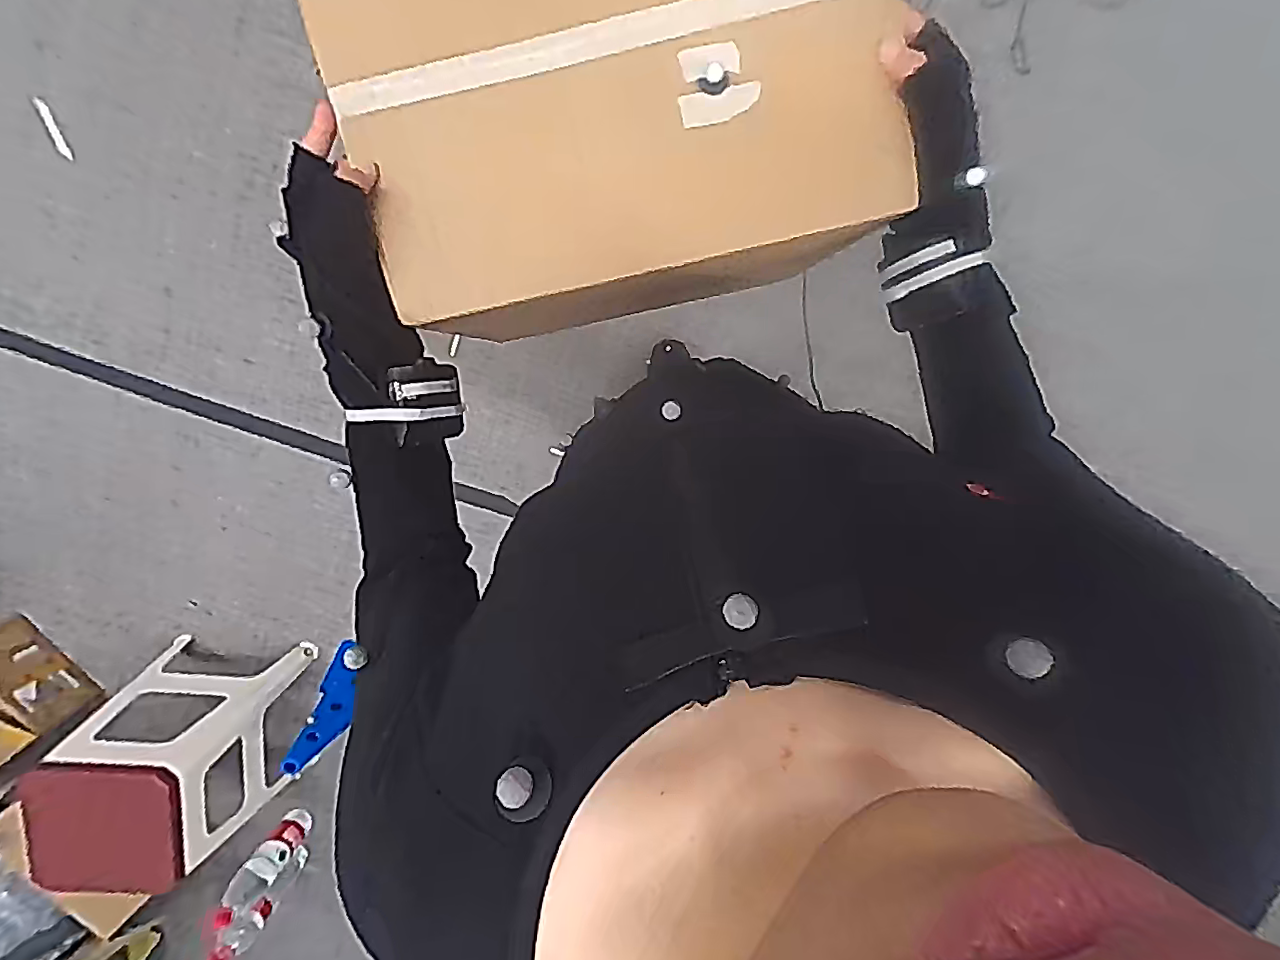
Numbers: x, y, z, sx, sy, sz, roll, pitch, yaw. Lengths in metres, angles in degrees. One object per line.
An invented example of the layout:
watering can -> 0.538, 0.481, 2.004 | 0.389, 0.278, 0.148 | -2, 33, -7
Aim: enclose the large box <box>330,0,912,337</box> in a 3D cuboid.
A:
large box -> -0.019, -0.349, 0.539 | 0.408, 0.320, 0.320 | -12, 101, 1
